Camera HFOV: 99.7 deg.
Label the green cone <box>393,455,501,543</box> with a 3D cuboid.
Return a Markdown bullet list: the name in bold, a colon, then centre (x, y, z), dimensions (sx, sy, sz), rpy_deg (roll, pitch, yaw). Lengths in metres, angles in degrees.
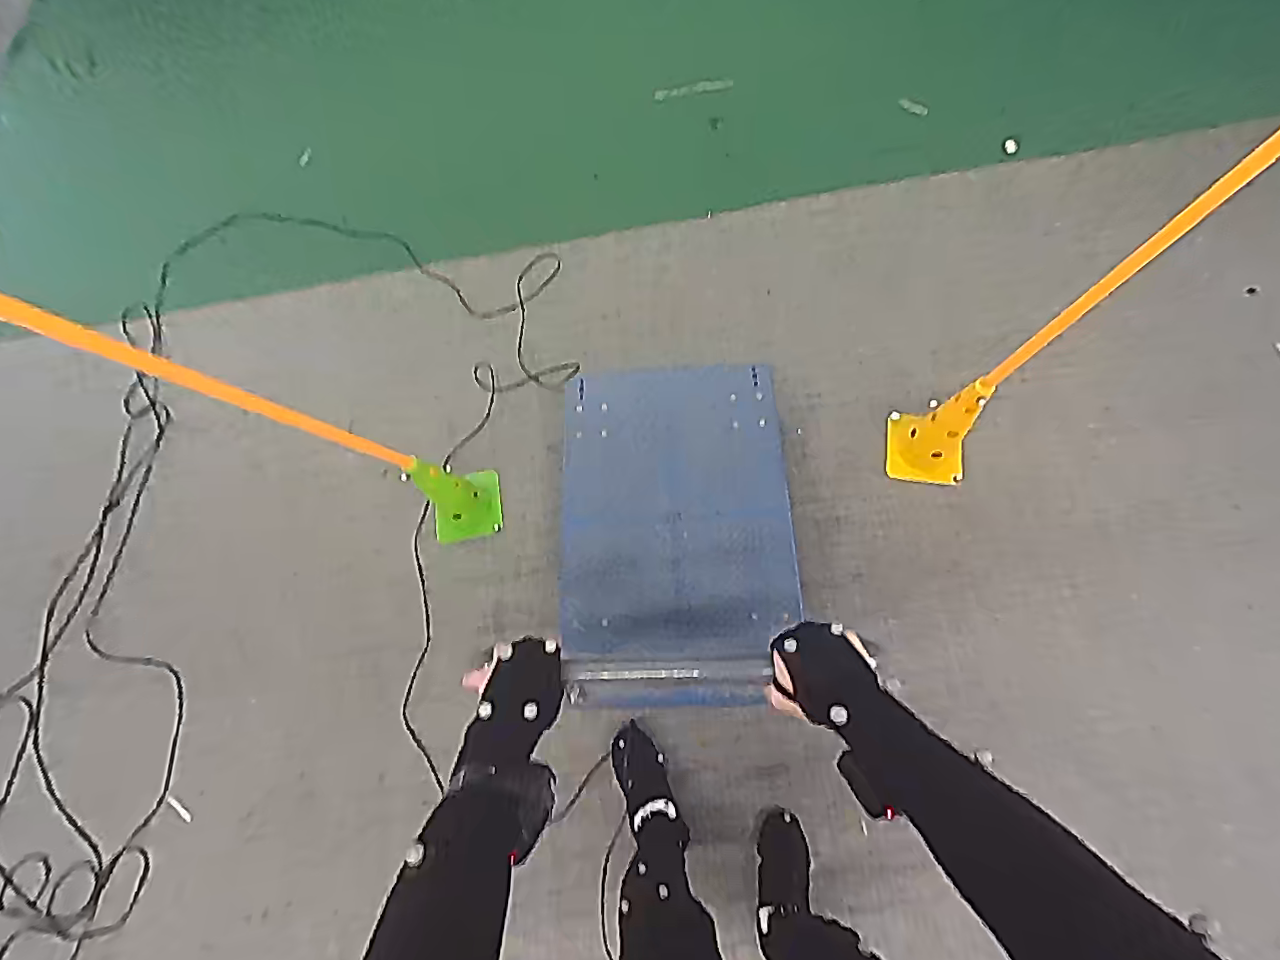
- **green cone**: centre (-0.536, 0.015, 1.440), dimensions (0.202, 0.368, 0.200), rpy_deg (-13, 69, 3)
